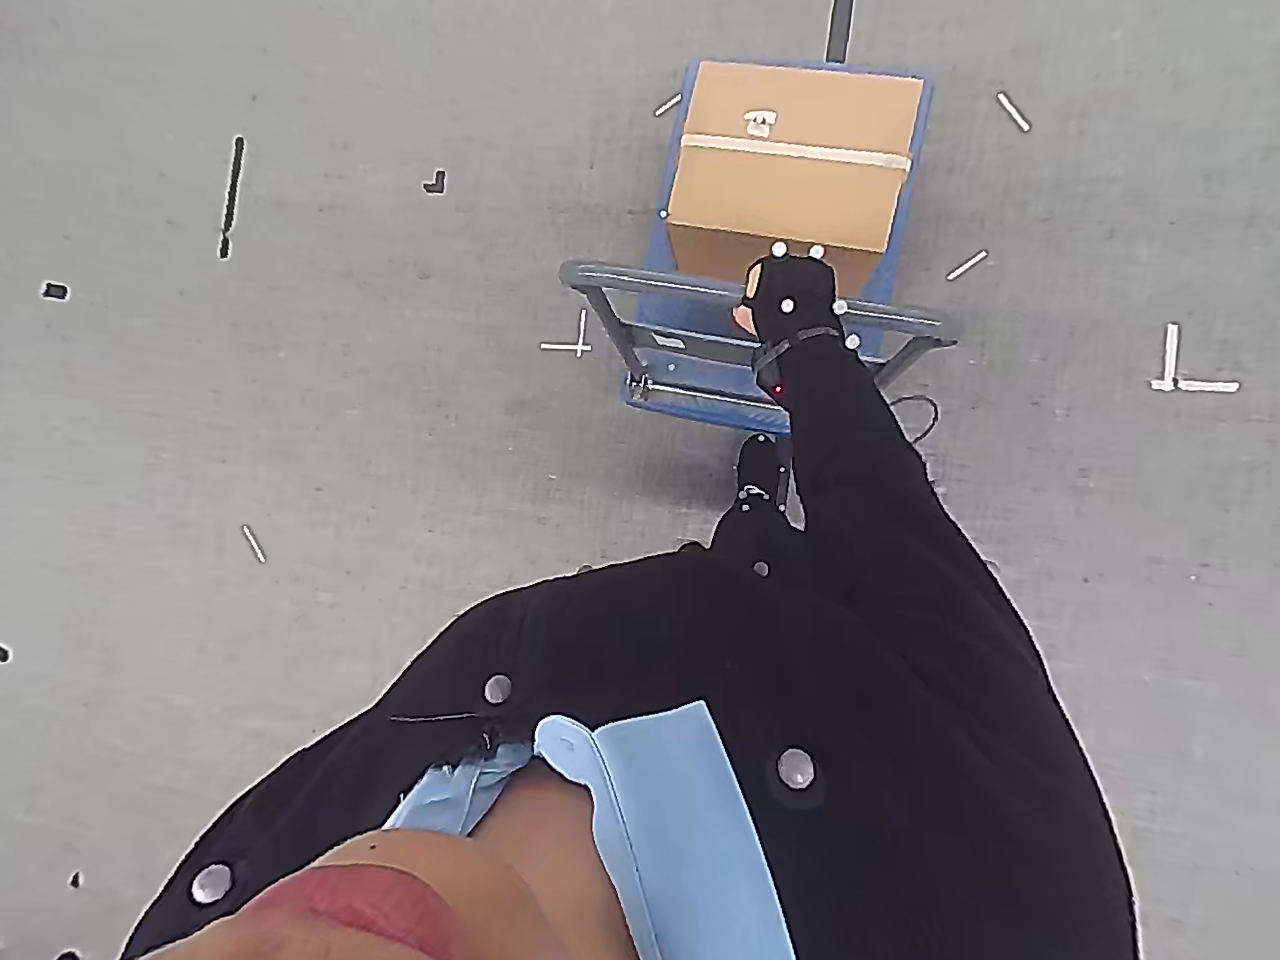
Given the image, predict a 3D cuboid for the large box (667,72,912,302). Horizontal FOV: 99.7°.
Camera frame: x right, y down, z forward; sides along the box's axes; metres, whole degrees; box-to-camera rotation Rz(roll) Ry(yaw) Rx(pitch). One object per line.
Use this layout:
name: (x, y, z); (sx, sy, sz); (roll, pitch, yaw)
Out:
large box: (0.301, -0.598, 1.152); (0.408, 0.320, 0.320); (12, 90, 11)
